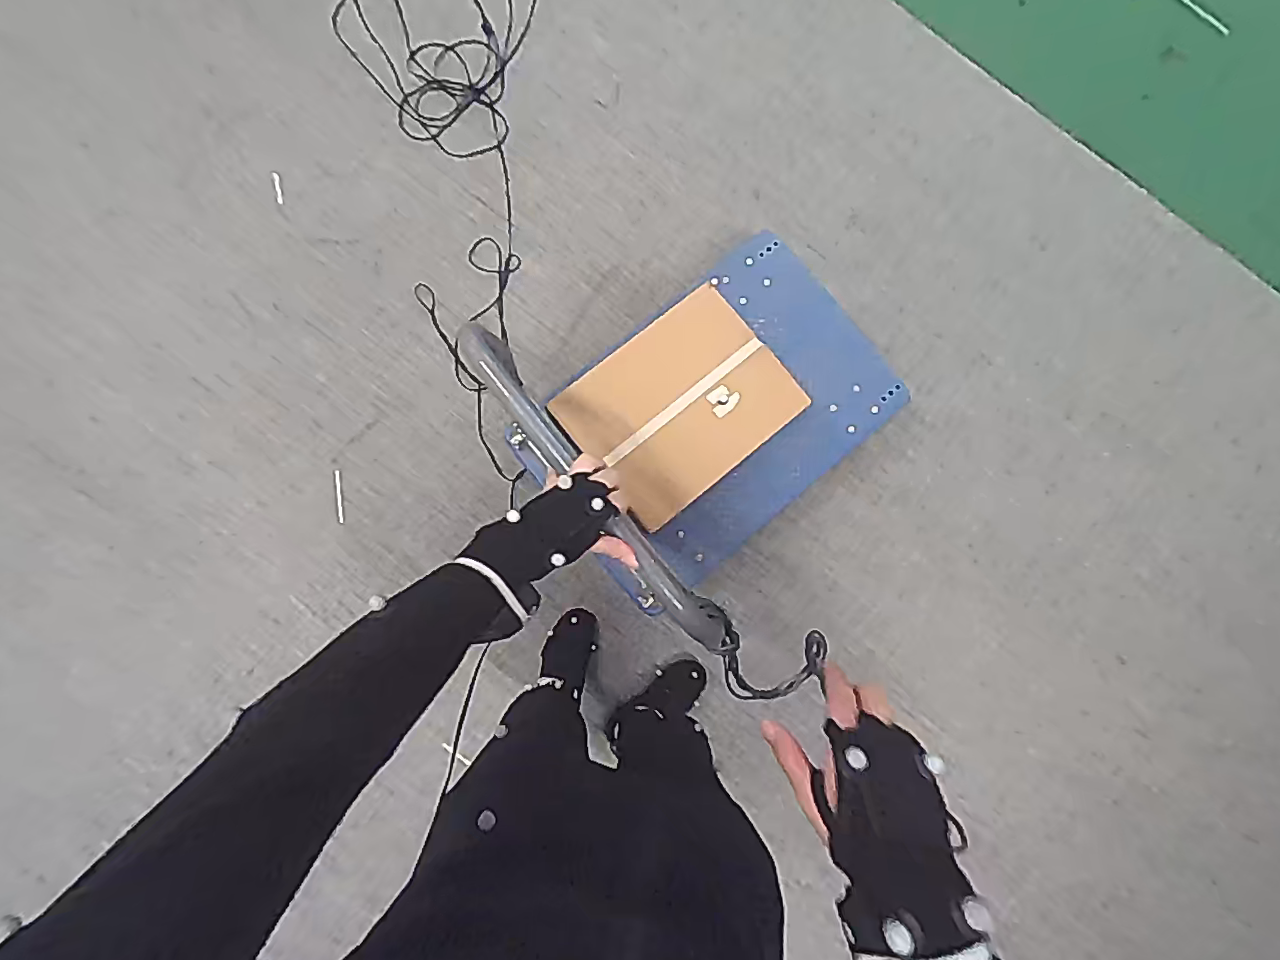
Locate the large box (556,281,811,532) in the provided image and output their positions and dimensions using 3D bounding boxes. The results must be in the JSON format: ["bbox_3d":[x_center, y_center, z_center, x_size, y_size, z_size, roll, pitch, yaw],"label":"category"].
[{"bbox_3d":[0.077,-0.132,1.170,0.408,0.320,0.320,-39,87,-7],"label":"large box"}]
